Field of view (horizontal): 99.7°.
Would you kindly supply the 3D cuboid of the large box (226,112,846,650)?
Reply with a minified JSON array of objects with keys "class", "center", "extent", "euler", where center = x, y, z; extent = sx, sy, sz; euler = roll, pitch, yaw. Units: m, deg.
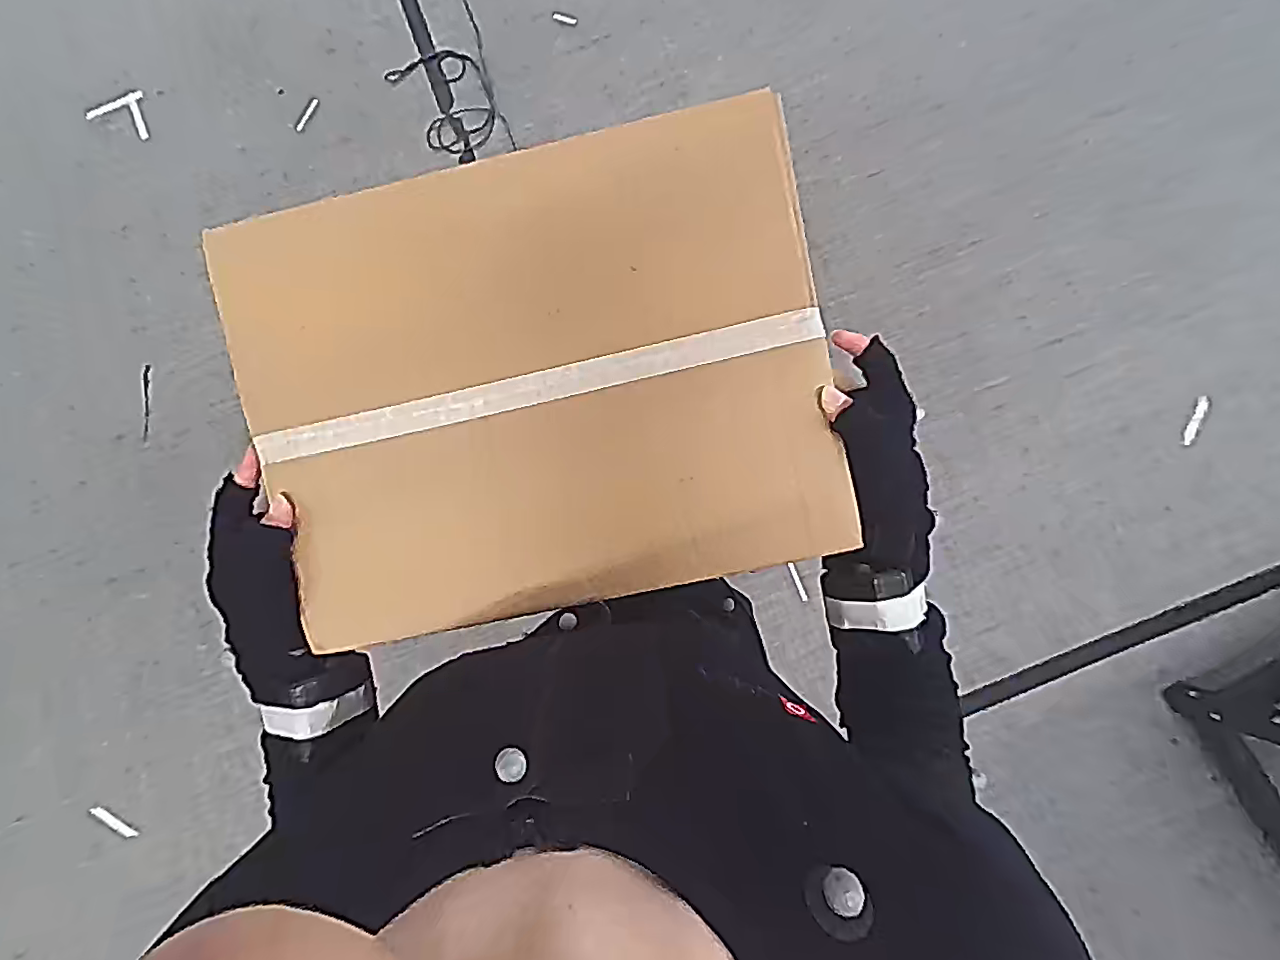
[{"class":"large box","center":[-0.068,-0.073,0.536],"extent":[0.408,0.320,0.320],"euler":[-12,93,4]}]
